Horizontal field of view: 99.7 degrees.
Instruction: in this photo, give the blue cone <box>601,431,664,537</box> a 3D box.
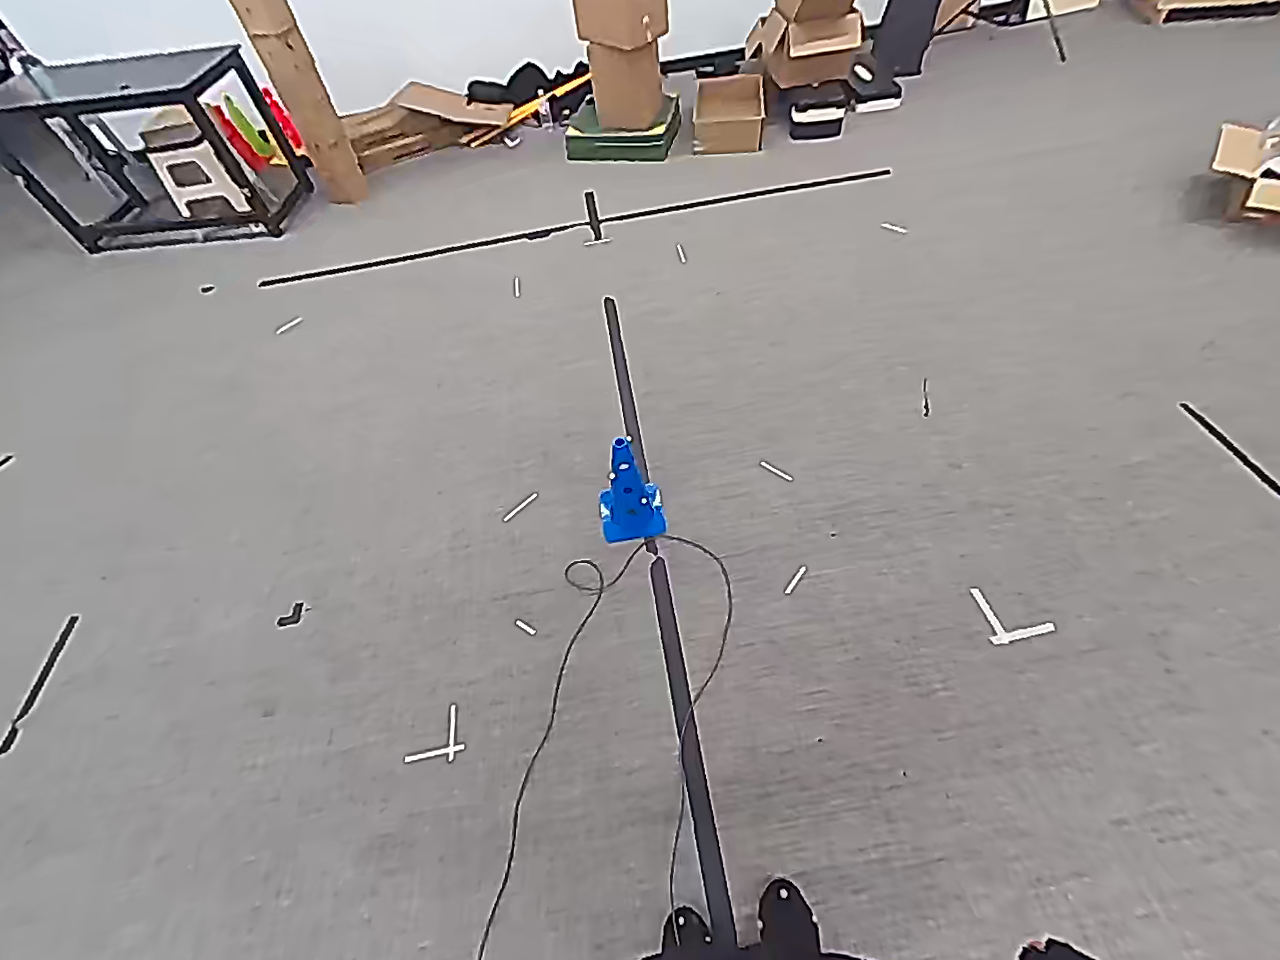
[{"bbox_3d":[-0.040,-0.004,1.595,0.193,0.380,0.192,-11,54,-1],"label":"blue cone"}]
